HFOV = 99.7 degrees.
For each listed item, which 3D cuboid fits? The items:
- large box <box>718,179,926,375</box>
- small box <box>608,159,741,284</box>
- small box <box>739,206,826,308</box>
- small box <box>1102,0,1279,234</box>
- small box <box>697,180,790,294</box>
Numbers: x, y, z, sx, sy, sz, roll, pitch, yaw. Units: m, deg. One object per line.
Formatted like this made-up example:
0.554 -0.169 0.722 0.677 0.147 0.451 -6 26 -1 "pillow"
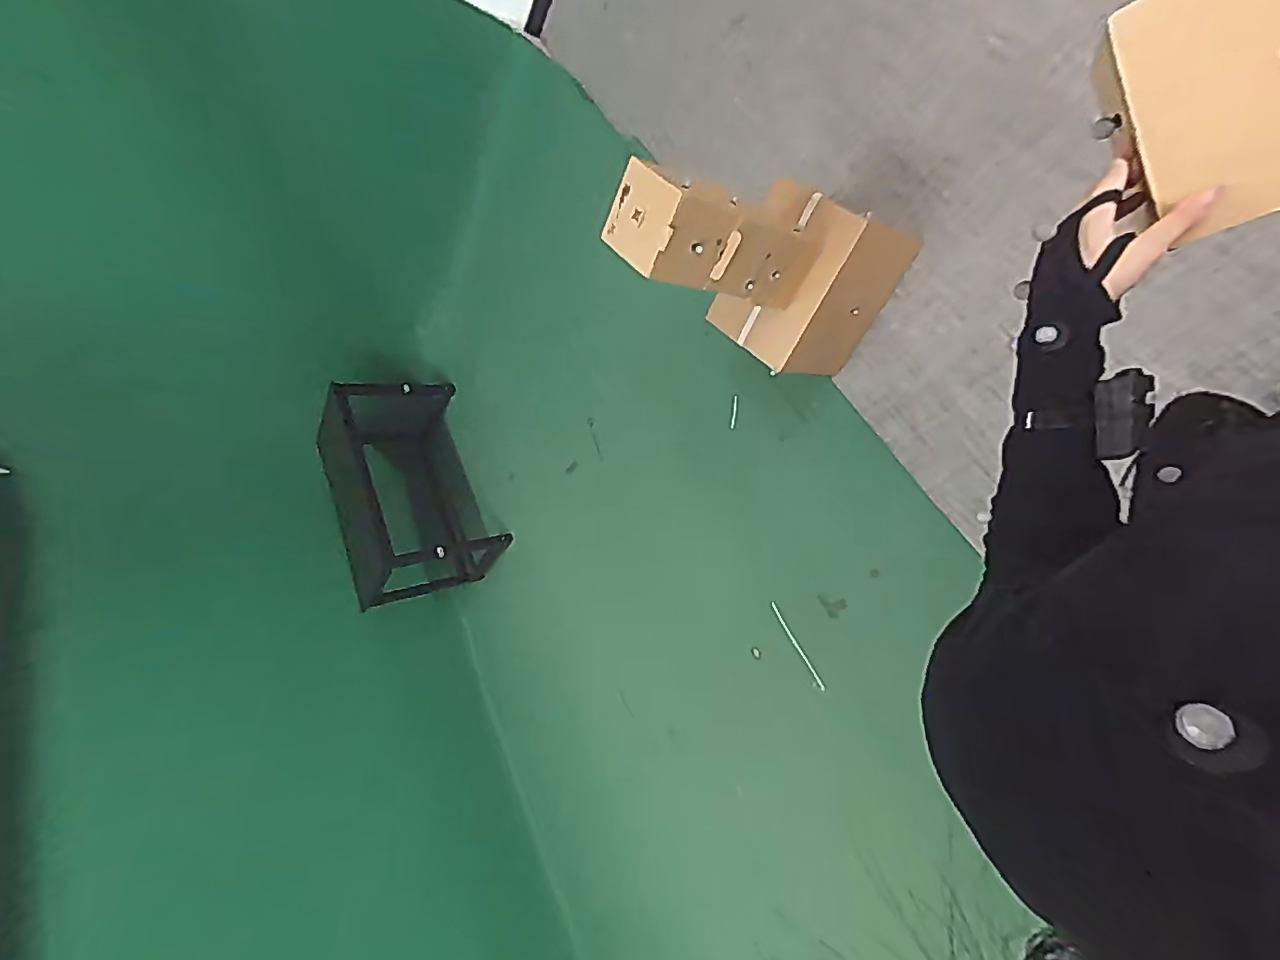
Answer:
0.490 -0.543 1.493 0.320 0.320 0.408 49 130 33 "large box"
0.072 -0.516 1.101 0.179 0.176 0.168 50 129 28 "small box"
0.317 -0.540 1.318 0.168 0.176 0.179 51 129 29 "small box"
0.457 -0.291 0.381 0.179 0.176 0.168 -18 98 40 "small box"
0.197 -0.534 1.207 0.179 0.176 0.168 53 131 28 "small box"
